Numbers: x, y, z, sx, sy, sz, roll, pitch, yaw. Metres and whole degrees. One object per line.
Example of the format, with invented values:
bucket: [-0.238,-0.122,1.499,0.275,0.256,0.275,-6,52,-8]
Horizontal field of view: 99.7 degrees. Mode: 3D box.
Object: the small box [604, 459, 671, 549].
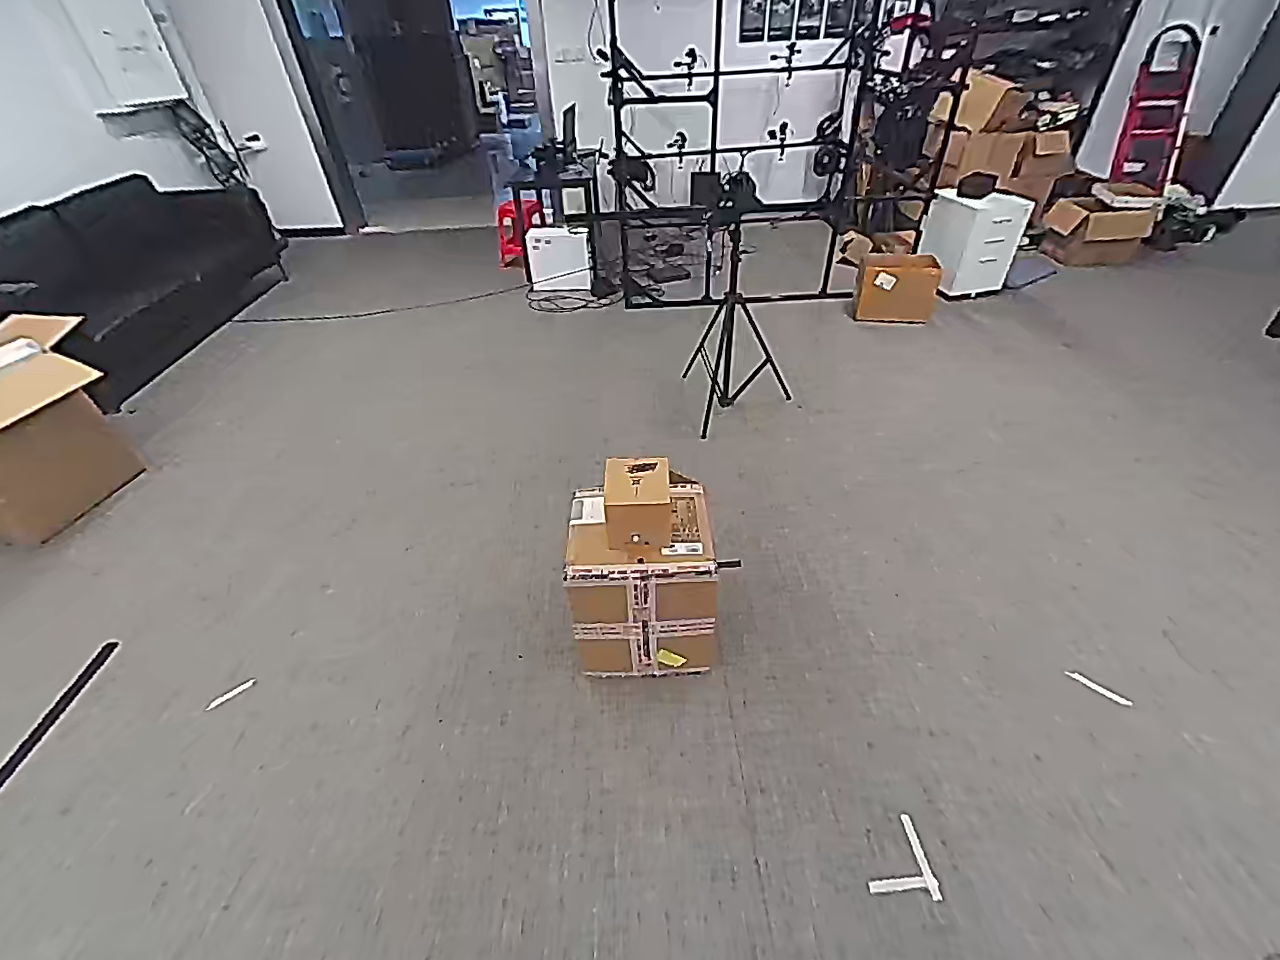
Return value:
small box: [-0.004,0.063,1.433,0.168,0.176,0.179,-2,43,2]
